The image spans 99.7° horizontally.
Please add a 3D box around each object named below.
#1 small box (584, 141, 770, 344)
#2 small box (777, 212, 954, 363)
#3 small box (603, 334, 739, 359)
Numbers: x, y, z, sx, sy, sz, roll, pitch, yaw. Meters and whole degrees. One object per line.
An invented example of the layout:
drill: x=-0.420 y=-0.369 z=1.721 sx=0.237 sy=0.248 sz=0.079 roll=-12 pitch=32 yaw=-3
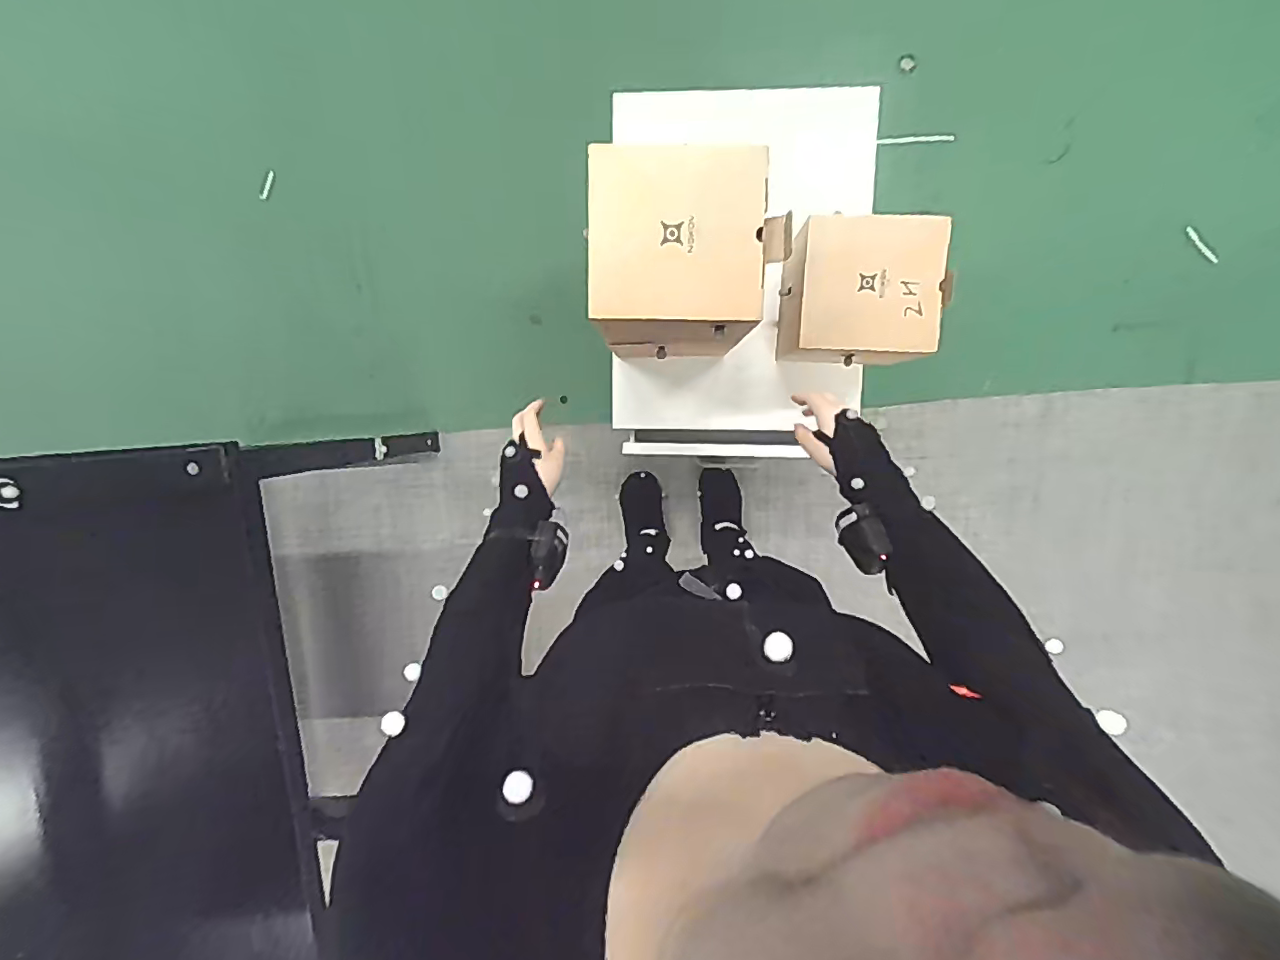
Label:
small box: x=0.037 y=-0.244 z=0.595 sx=0.179 sy=0.176 sz=0.168 roll=0 pitch=97 yaw=1
small box: x=0.293 y=-0.252 z=0.743 sx=0.179 sy=0.176 sz=0.168 roll=3 pitch=98 yaw=3
small box: x=0.043 y=-0.262 z=0.758 sx=0.179 sy=0.176 sz=0.168 roll=-1 pitch=97 yaw=3
